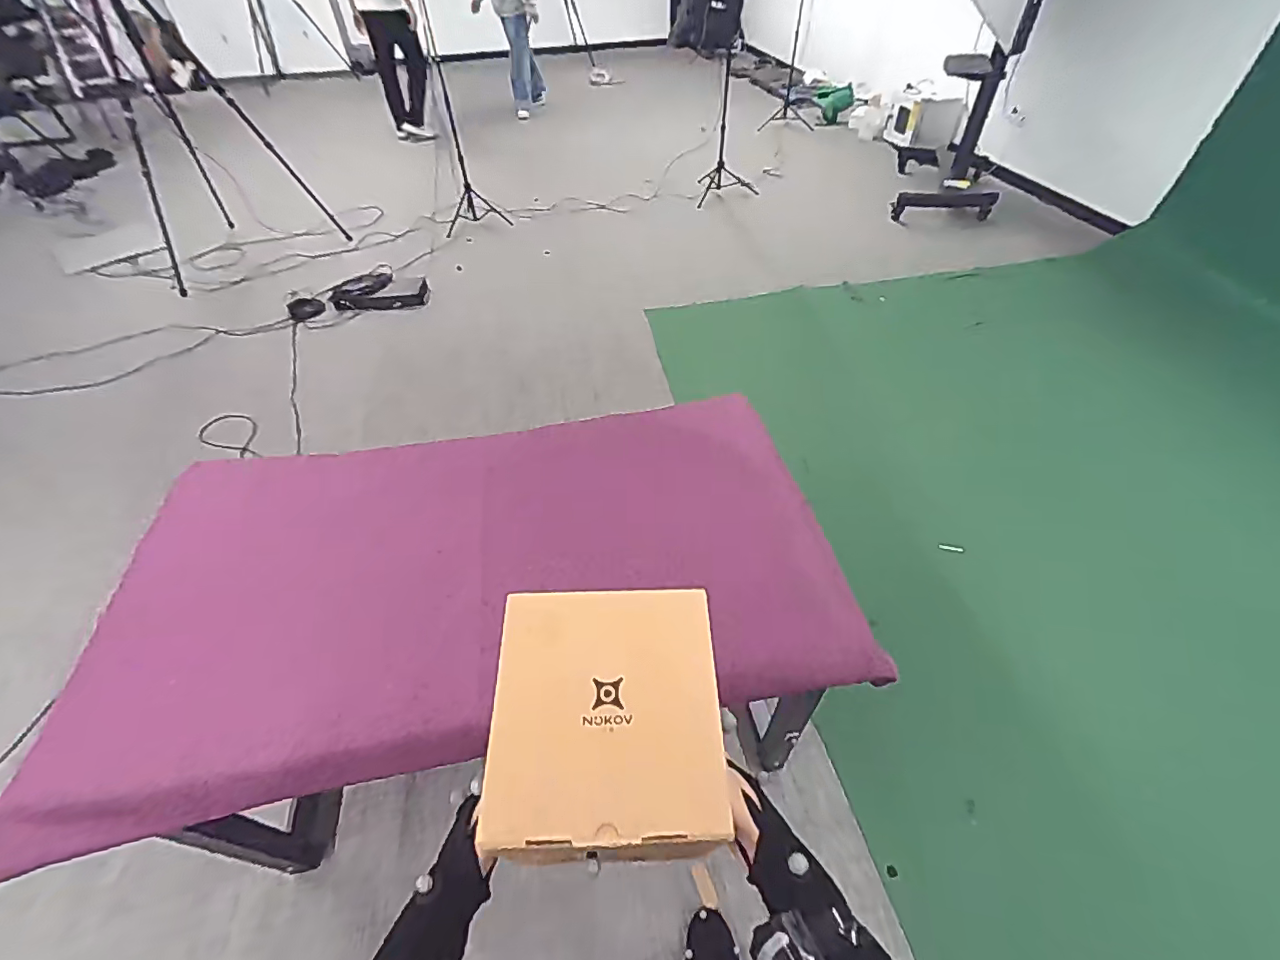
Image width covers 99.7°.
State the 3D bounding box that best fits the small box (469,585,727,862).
[{"bbox_3d":[-0.030,0.204,0.451,0.168,0.176,0.179,-1,52,-2],"label":"small box"}]
